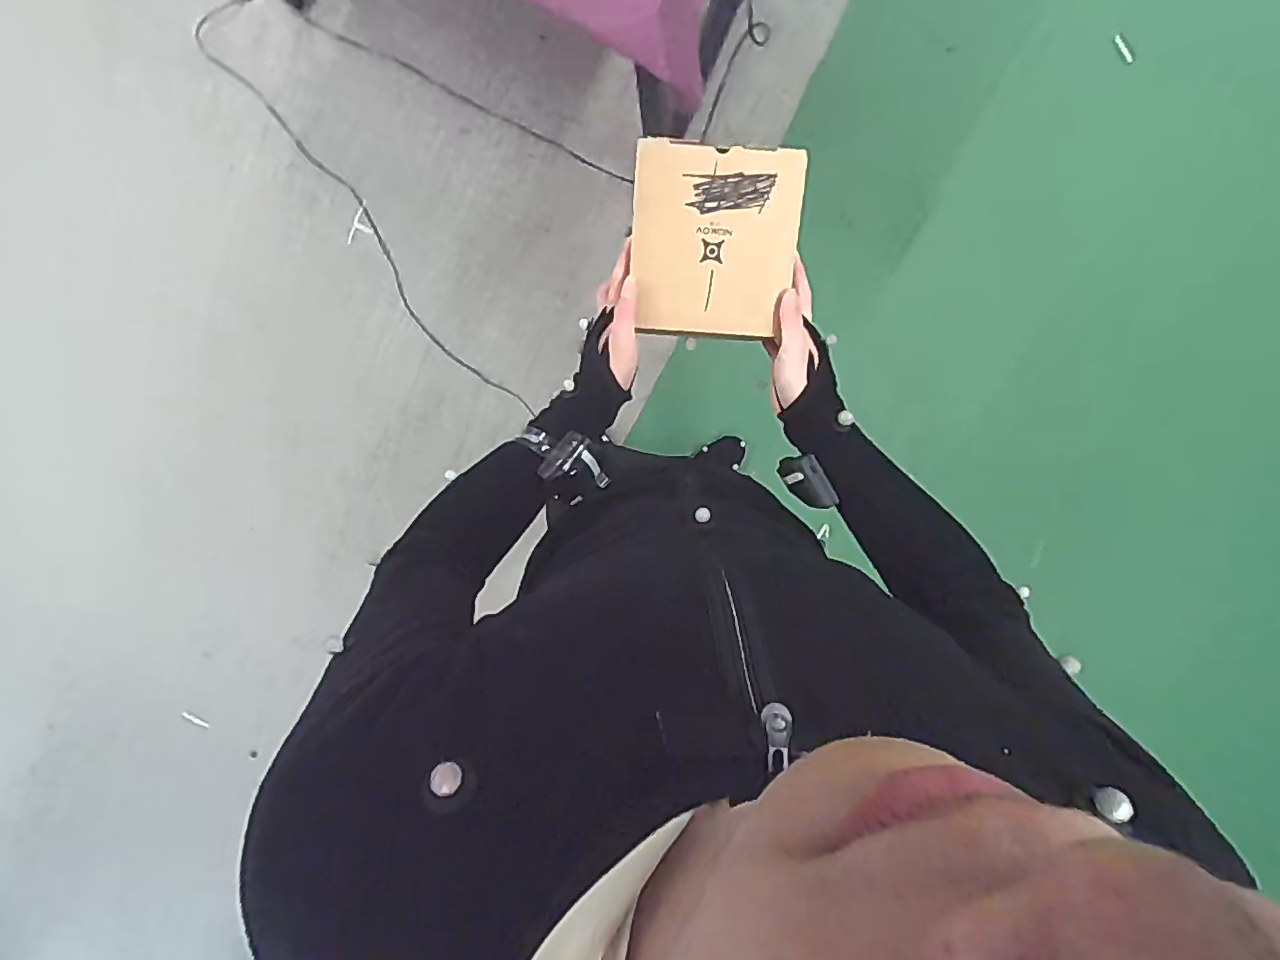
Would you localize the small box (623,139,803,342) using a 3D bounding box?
[{"bbox_3d":[0.069,-0.251,0.608,0.168,0.176,0.179,3,104,0],"label":"small box"}]
